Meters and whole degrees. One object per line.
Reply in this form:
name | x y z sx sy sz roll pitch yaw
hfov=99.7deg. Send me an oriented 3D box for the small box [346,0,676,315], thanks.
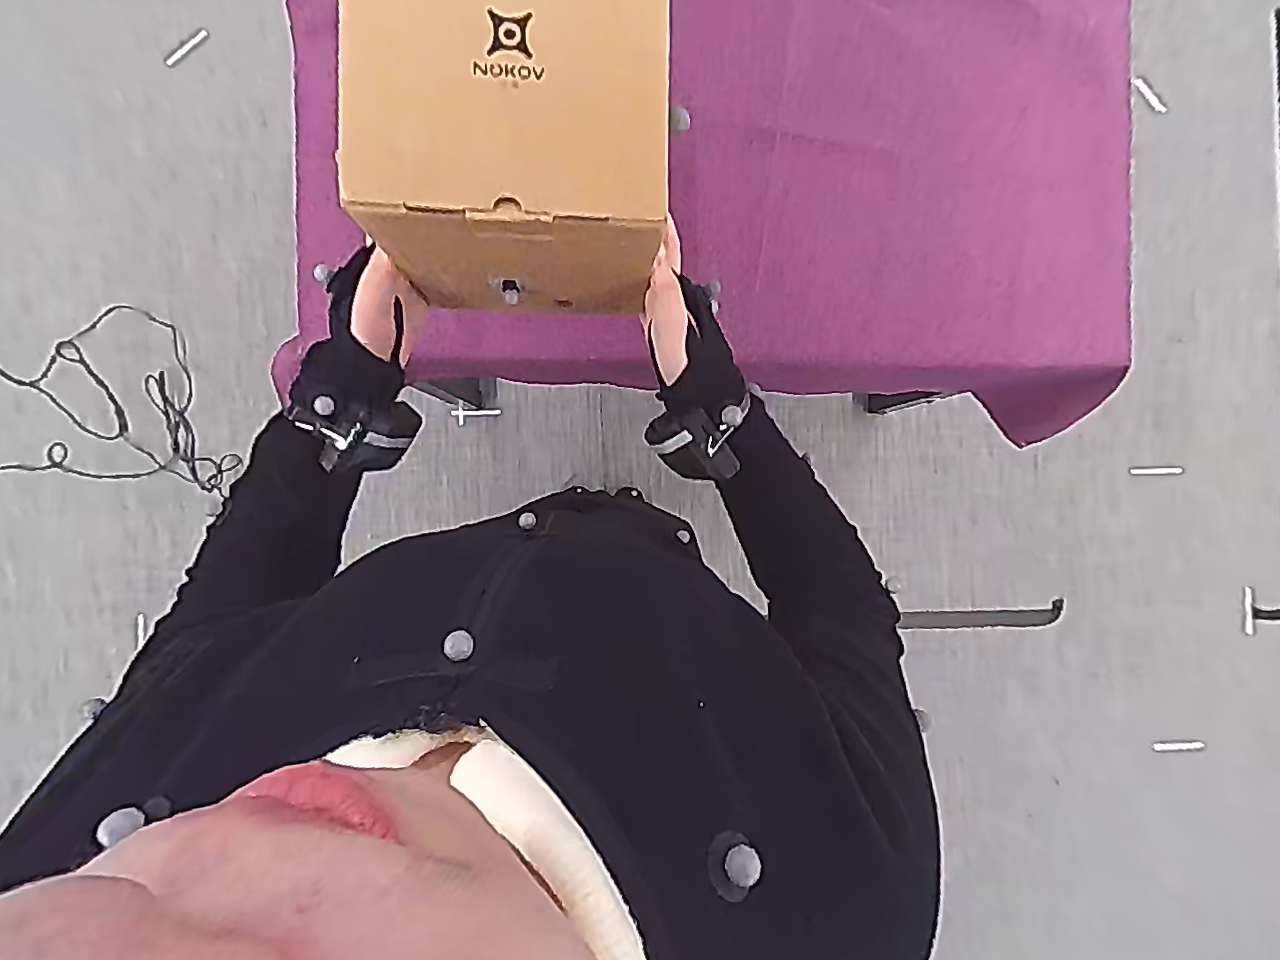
small box | -0.072 -0.222 0.355 0.168 0.176 0.179 0 92 -6
